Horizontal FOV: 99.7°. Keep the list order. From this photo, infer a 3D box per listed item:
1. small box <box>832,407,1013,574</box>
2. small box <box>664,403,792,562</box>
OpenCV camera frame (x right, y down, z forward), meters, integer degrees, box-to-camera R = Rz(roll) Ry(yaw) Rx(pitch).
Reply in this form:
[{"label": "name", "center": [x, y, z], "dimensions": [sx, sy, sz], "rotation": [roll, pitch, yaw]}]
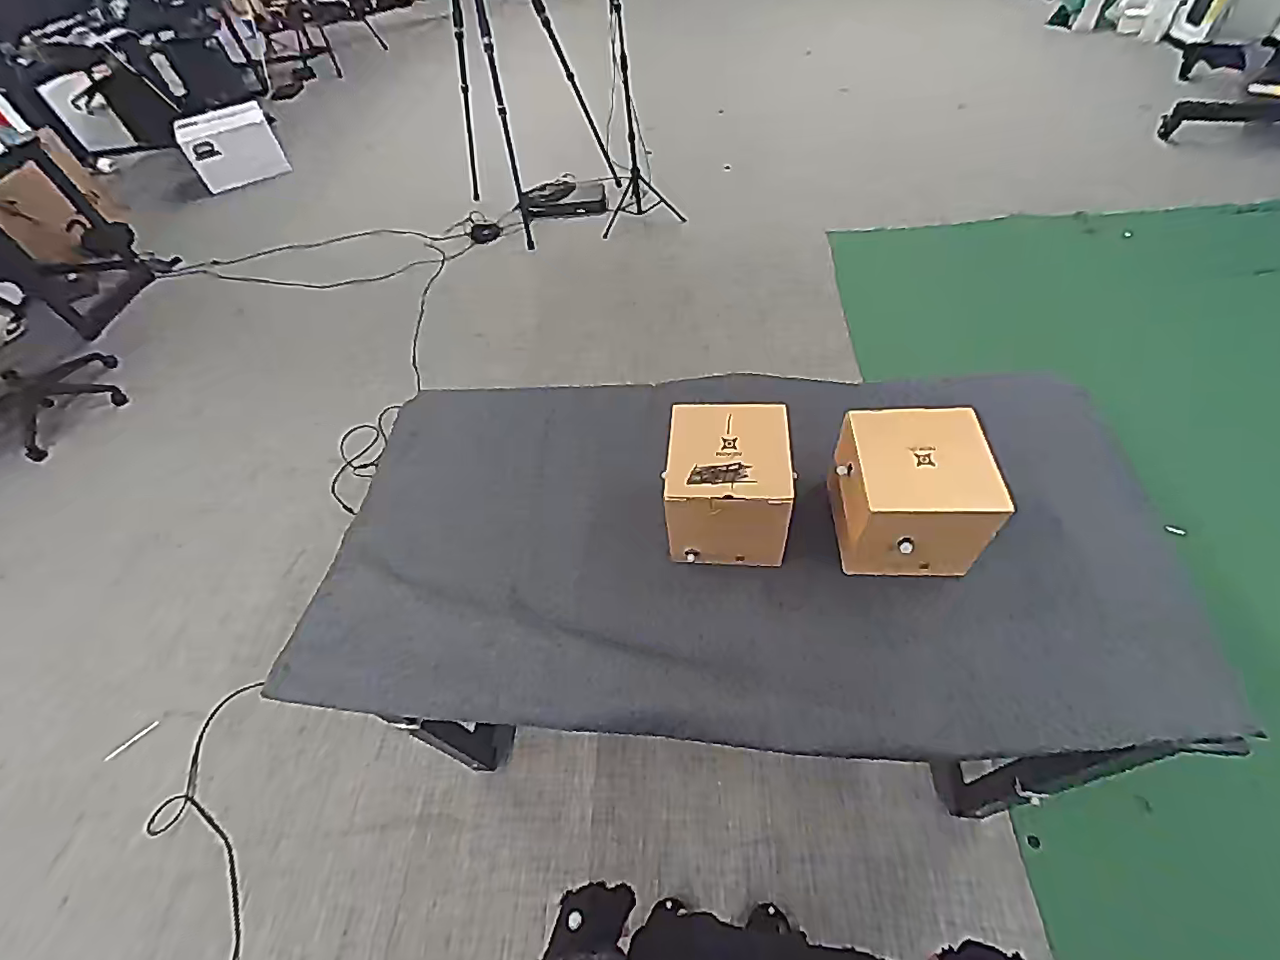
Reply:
[{"label": "small box", "center": [0.374, 0.020, 0.755], "dimensions": [0.168, 0.176, 0.179], "rotation": [-1, 52, 8]}, {"label": "small box", "center": [0.131, 0.007, 0.797], "dimensions": [0.168, 0.176, 0.179], "rotation": [1, 52, 9]}]
